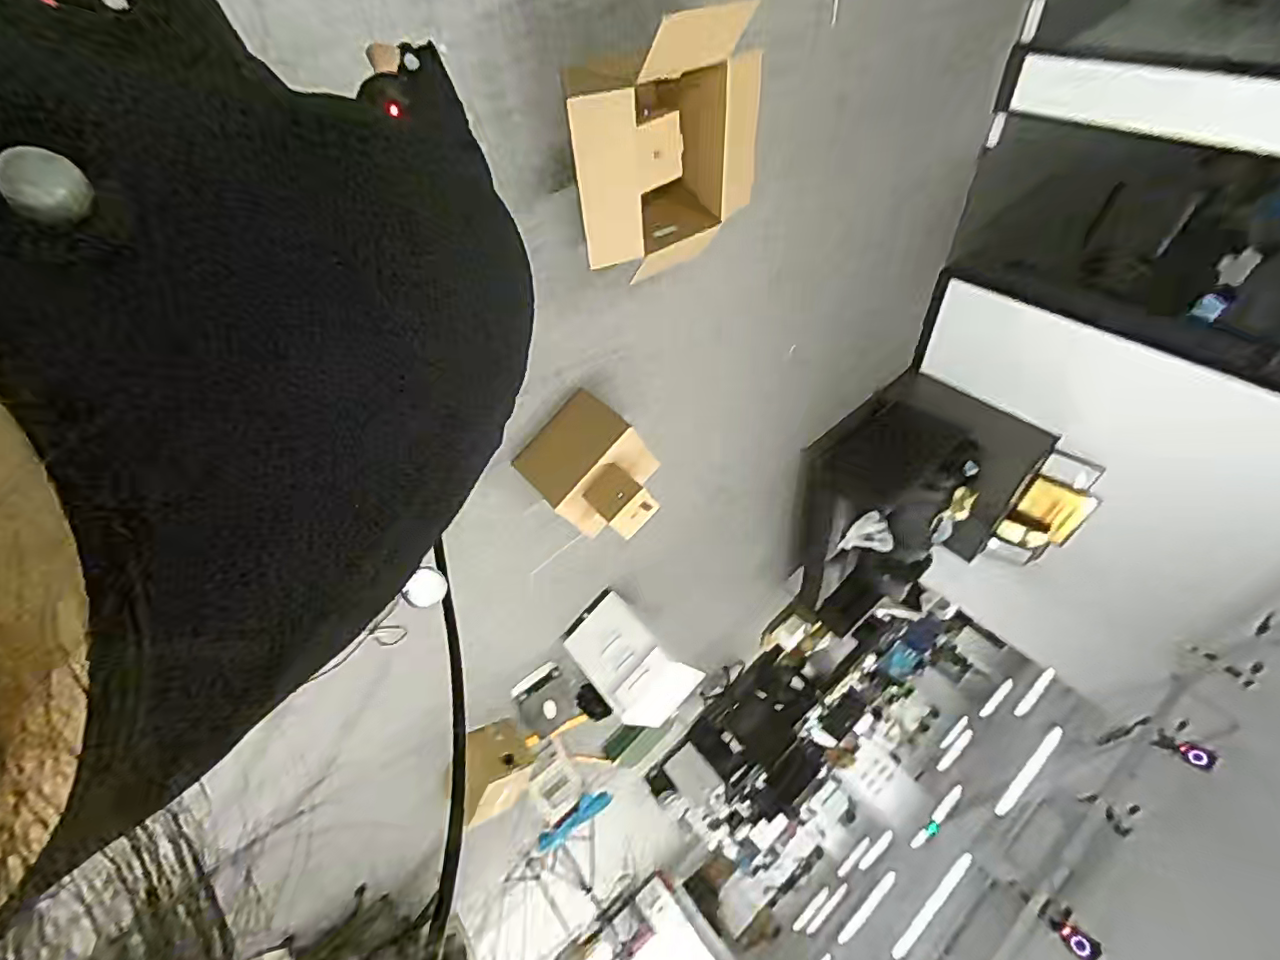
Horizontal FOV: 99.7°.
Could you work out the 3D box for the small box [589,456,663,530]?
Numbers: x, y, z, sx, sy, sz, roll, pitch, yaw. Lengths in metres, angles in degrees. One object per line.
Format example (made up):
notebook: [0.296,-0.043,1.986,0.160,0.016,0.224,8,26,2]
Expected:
small box: [-0.052,0.045,1.950,0.179,0.176,0.168,-47,145,-3]
